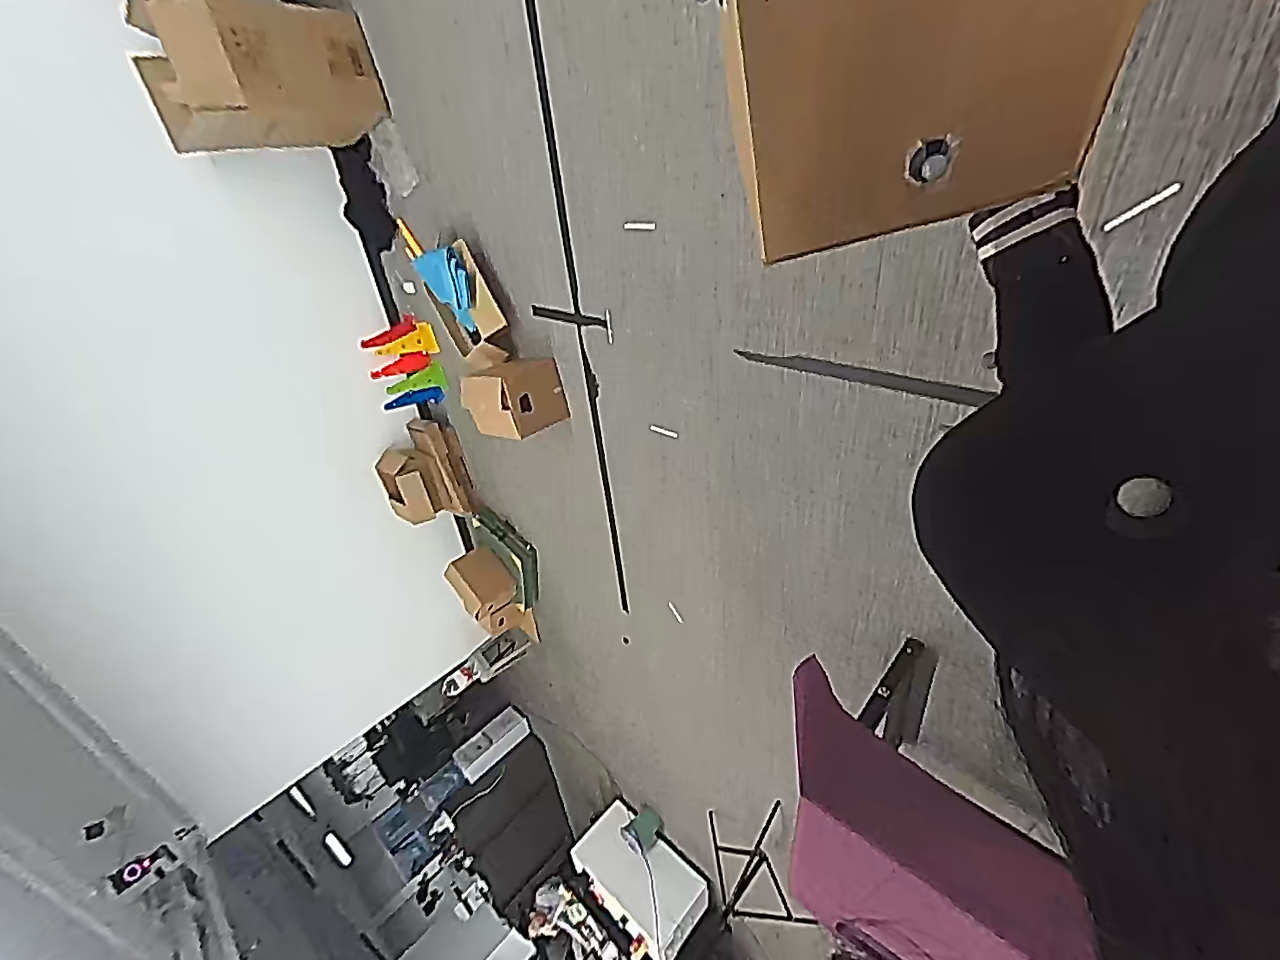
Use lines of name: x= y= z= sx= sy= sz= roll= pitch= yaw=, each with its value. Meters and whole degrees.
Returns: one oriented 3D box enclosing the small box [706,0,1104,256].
small box: x=0.131 y=-0.266 z=0.304 sx=0.179 sy=0.168 sz=0.176 roll=-10 pitch=144 yaw=14
